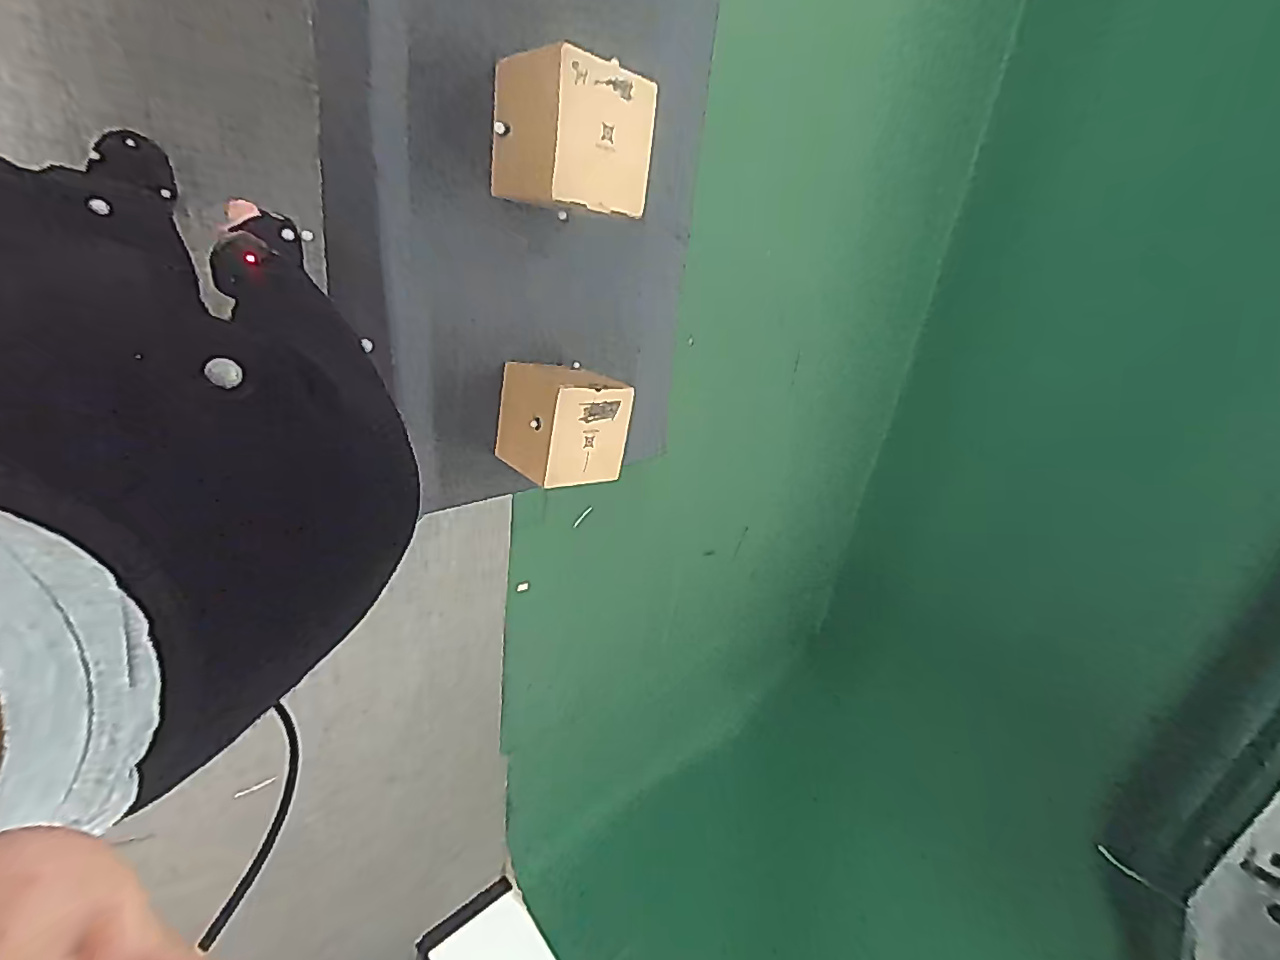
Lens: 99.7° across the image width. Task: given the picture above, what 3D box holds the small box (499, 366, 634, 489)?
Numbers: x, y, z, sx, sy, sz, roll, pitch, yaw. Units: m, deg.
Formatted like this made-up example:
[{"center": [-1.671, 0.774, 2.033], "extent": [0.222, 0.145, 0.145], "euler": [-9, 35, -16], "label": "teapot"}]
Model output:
[{"center": [-0.137, -0.100, 0.969], "extent": [0.168, 0.176, 0.179], "euler": [-7, 117, -43], "label": "small box"}]

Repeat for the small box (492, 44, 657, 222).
[{"center": [-0.102, -0.491, 0.788], "extent": [0.168, 0.176, 0.179], "euler": [-12, 121, -42], "label": "small box"}]
